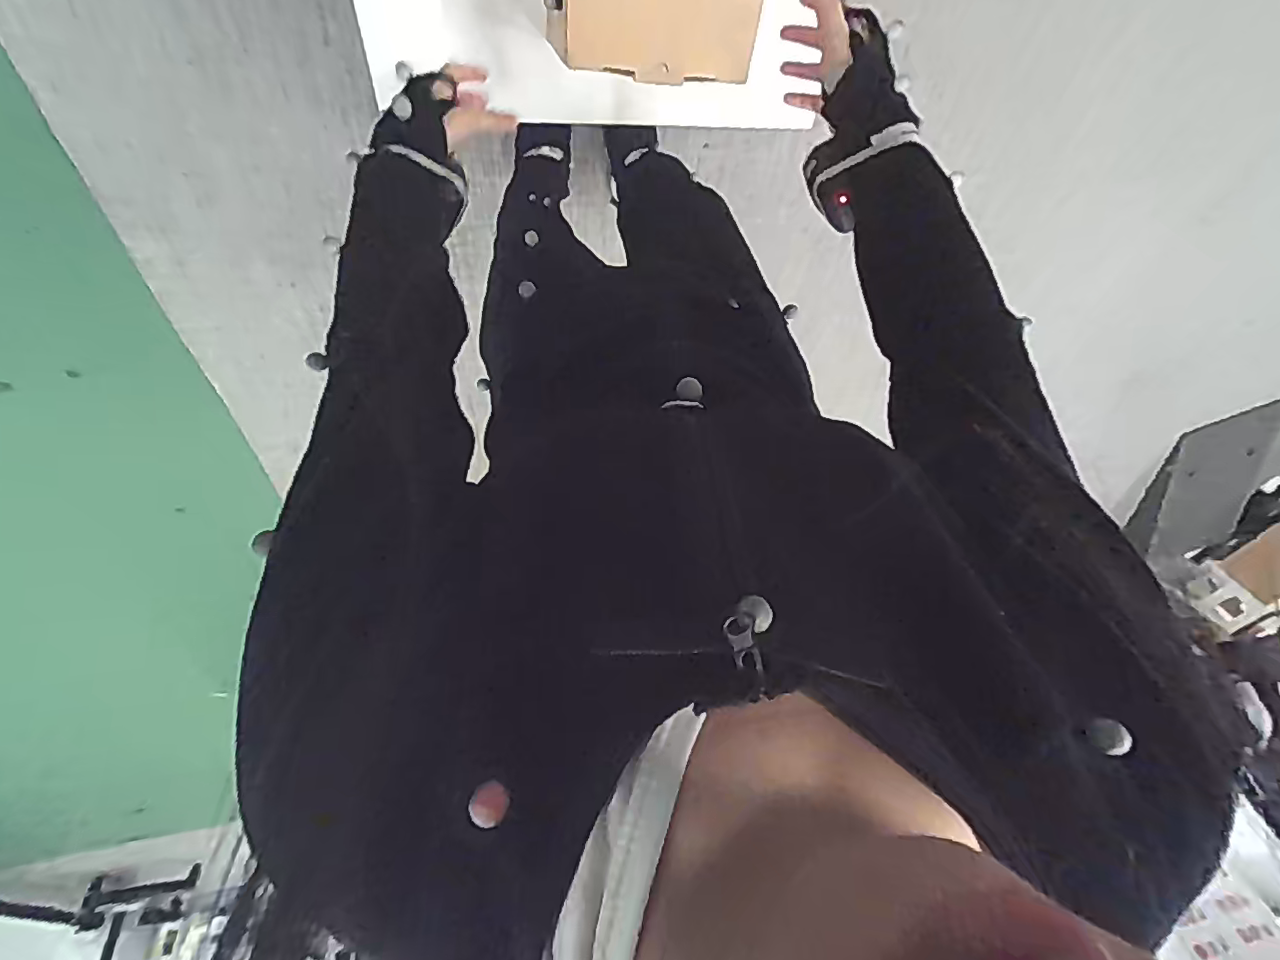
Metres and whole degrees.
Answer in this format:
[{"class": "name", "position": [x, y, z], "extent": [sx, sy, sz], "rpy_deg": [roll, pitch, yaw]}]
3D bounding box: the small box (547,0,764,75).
[{"class": "small box", "position": [0.009, -0.469, 0.454], "extent": [0.168, 0.176, 0.179], "rpy_deg": [-4, 135, -13]}]
